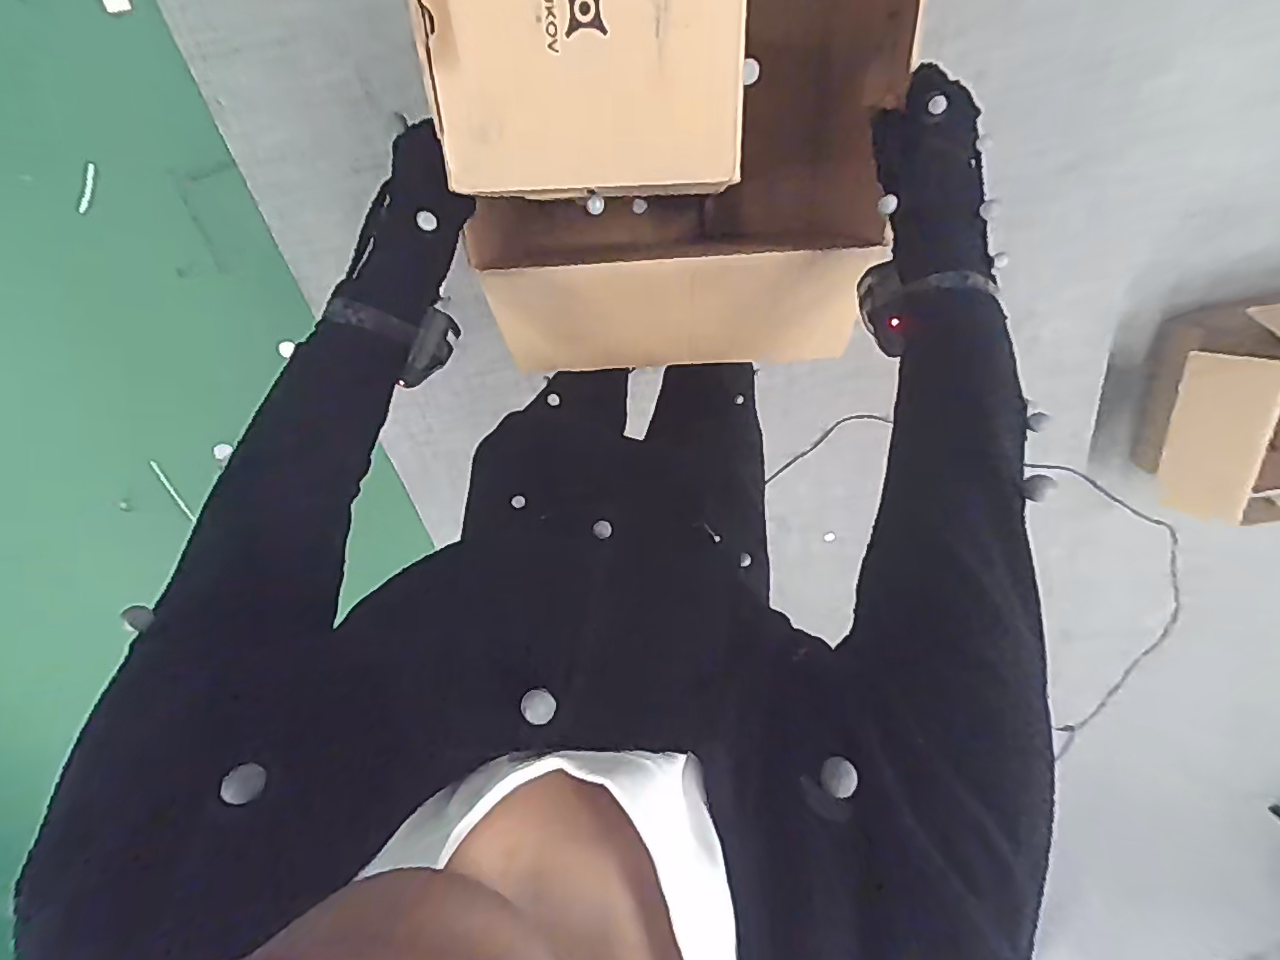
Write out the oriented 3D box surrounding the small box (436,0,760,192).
[{"bbox_3d":[-0.017,-0.287,0.357,0.179,0.176,0.168,-1,118,6],"label":"small box"}]
